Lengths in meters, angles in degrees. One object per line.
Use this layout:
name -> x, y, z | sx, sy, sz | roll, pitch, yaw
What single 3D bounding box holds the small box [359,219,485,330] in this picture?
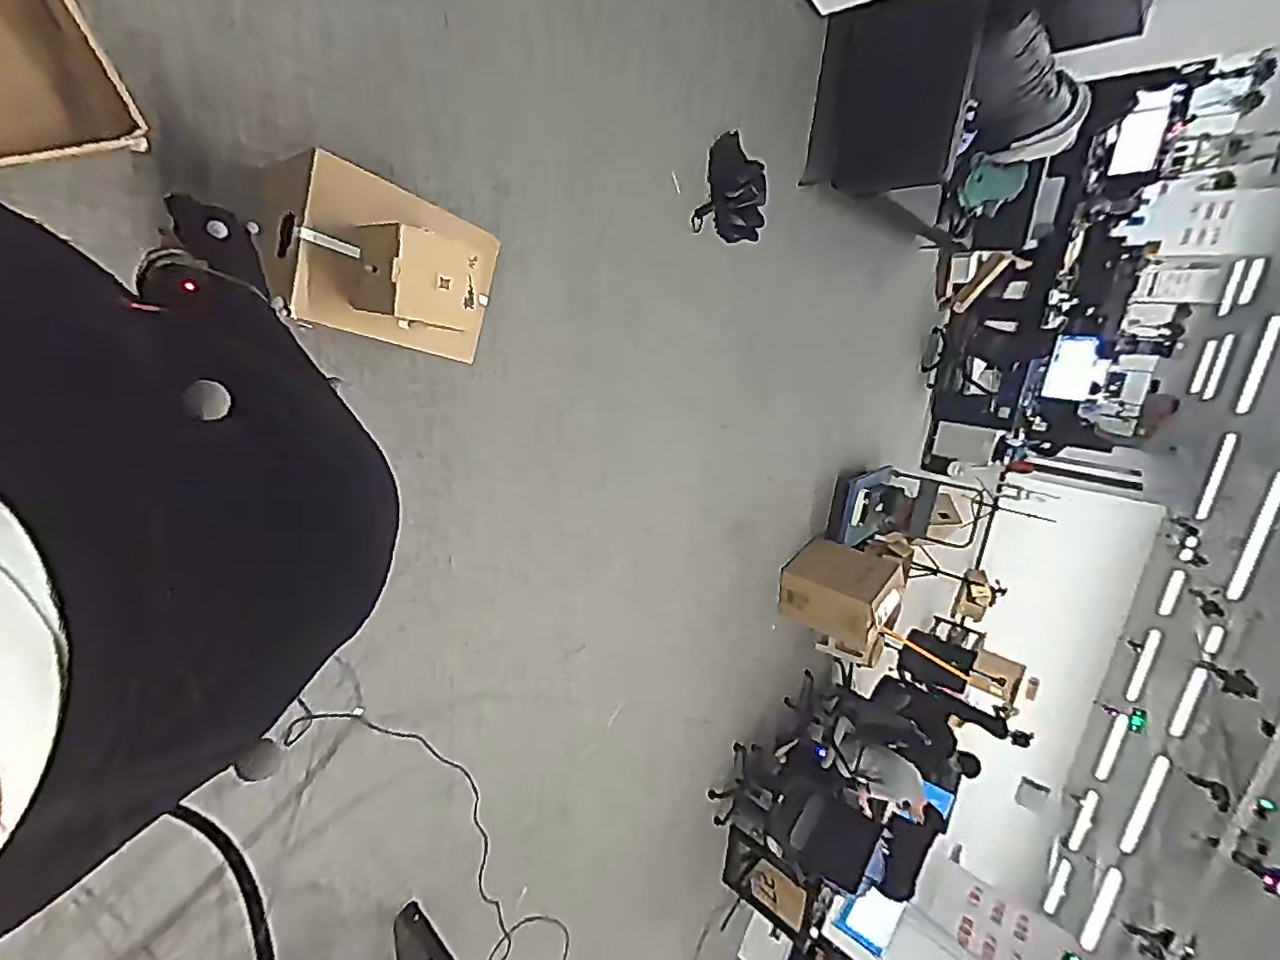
small box -> -0.441, -0.405, 1.085 | 0.179, 0.176, 0.168 | -3, 107, -49
